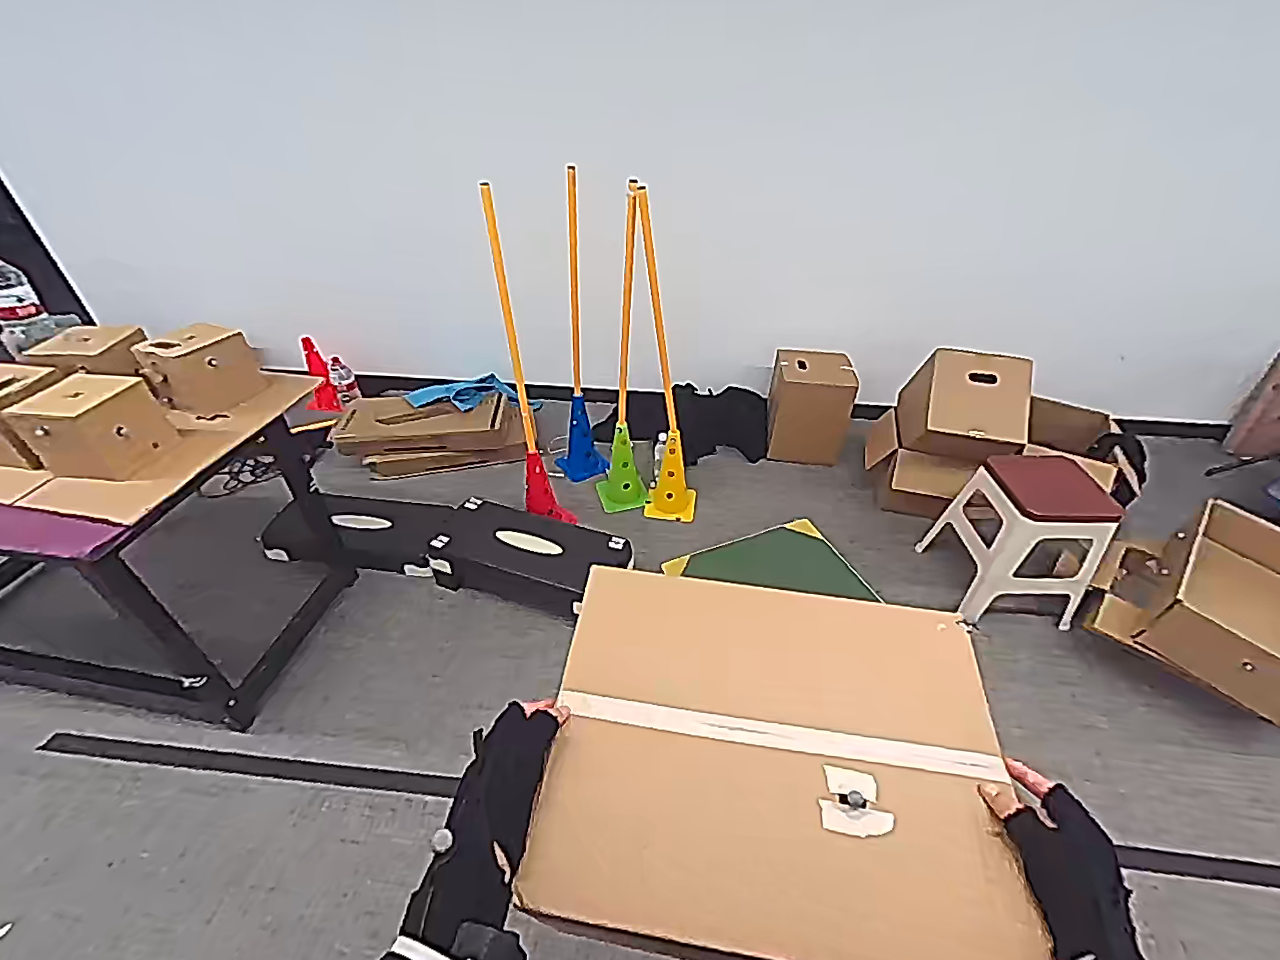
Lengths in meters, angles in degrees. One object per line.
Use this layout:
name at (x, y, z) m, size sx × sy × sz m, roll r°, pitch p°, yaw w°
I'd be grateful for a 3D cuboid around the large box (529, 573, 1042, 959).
large box at (0.124, 0.341, 0.623) m, size 0.408 × 0.320 × 0.320 m, roll 7°, pitch 49°, yaw 6°
